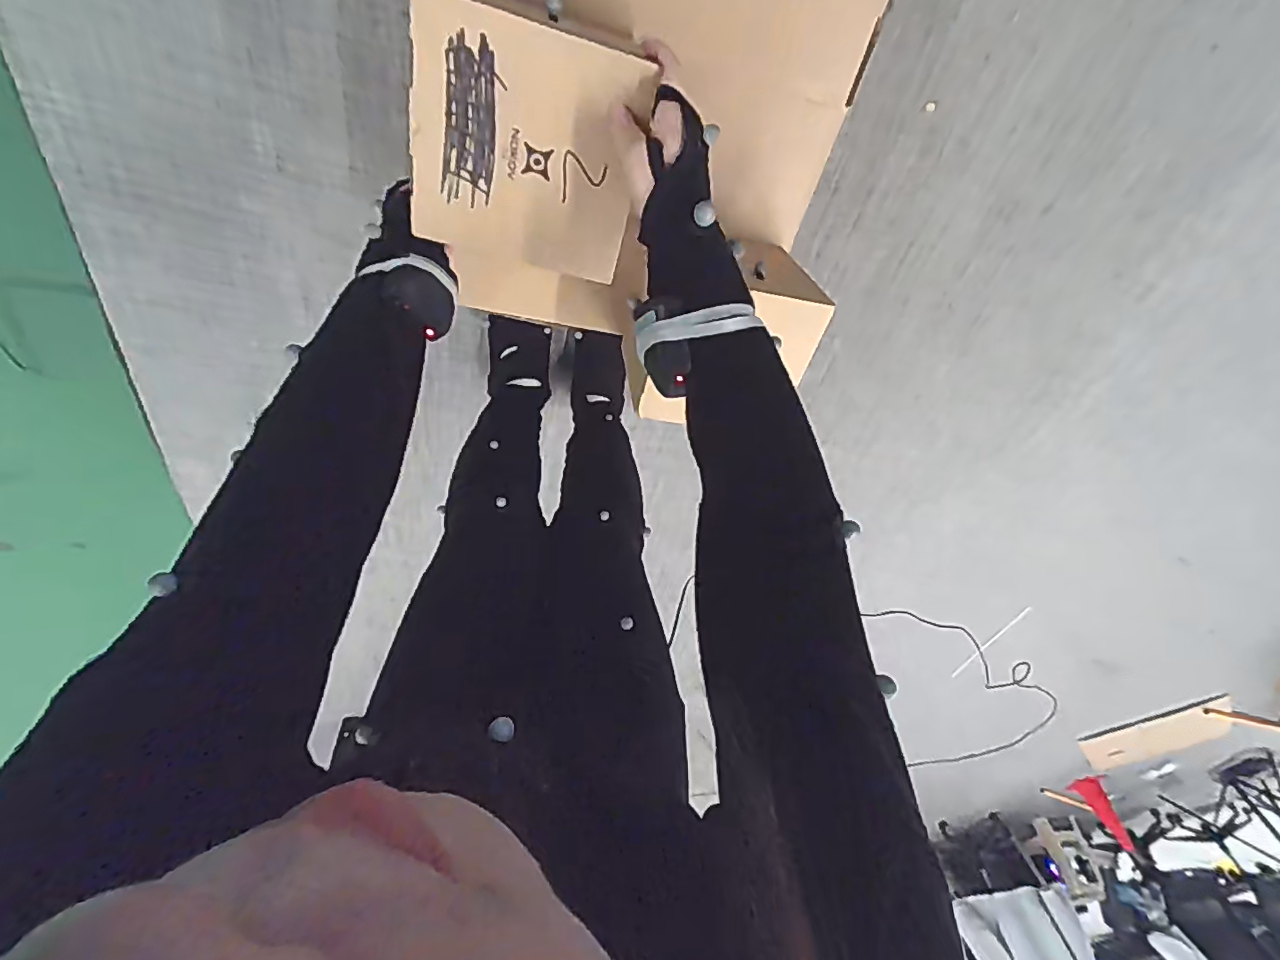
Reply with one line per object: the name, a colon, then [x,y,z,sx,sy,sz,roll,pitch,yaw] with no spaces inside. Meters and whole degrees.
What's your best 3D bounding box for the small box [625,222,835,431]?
small box: [0.088,-0.181,0.634,0.179,0.176,0.168,8,130,-14]
